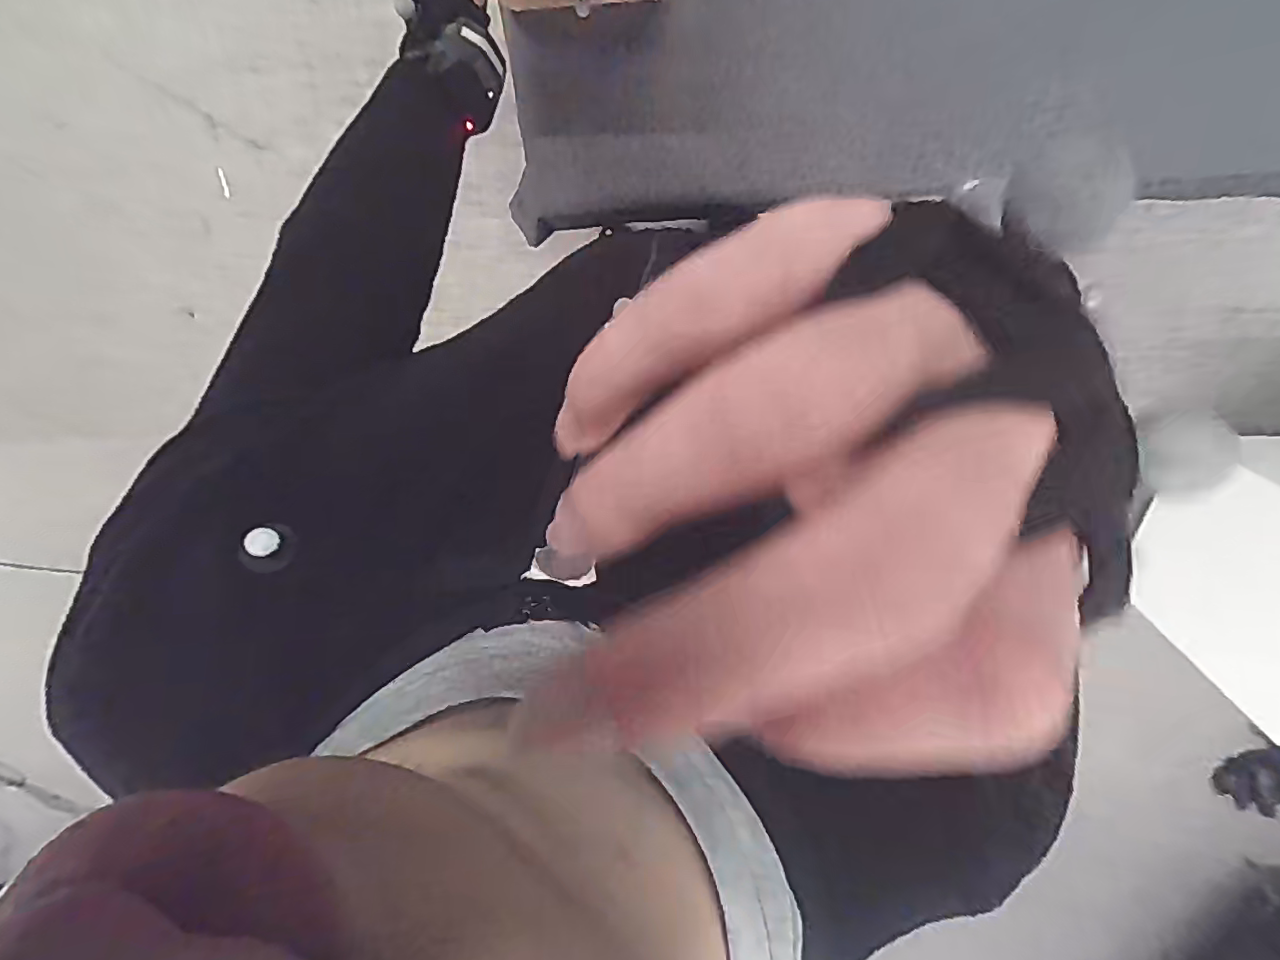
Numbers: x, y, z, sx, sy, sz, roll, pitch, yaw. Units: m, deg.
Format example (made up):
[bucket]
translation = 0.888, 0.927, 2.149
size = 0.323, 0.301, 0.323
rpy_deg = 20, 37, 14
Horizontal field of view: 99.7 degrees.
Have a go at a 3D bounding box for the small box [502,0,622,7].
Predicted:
[small box]
translation = -0.070, -0.545, 0.473
size = 0.179, 0.176, 0.168
rpy_deg = 0, 119, 5
